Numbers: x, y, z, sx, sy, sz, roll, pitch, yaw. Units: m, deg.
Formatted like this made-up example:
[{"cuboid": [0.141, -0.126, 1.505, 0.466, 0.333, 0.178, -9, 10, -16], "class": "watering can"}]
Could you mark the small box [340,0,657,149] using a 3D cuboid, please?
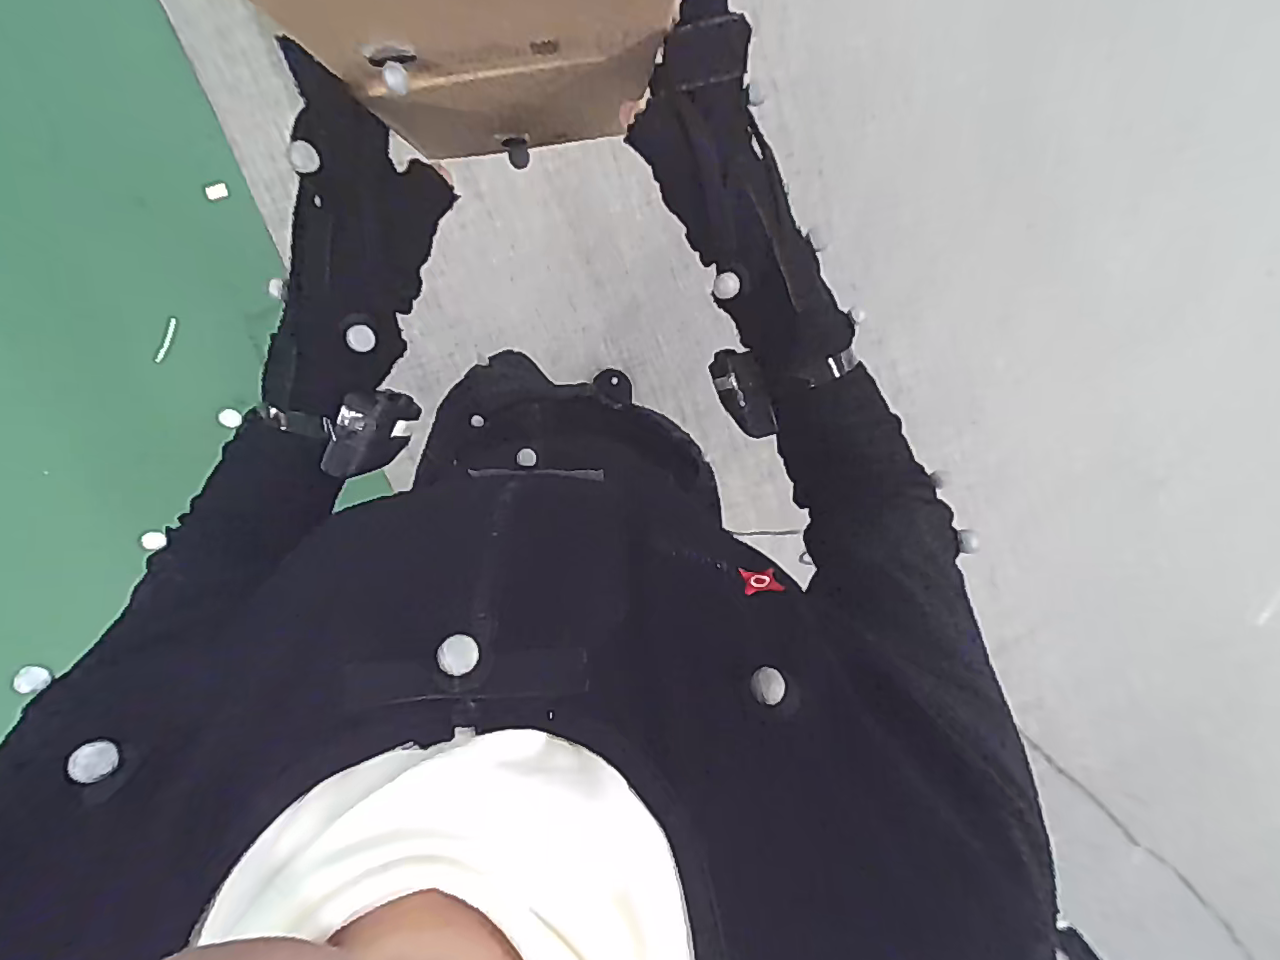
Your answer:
[{"cuboid": [-0.089, -0.332, 0.332, 0.168, 0.176, 0.179, -10, 110, -1], "class": "small box"}]

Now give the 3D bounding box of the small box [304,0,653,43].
[{"cuboid": [-0.075, -0.280, 0.177, 0.168, 0.176, 0.179, -9, 109, -2], "class": "small box"}]
